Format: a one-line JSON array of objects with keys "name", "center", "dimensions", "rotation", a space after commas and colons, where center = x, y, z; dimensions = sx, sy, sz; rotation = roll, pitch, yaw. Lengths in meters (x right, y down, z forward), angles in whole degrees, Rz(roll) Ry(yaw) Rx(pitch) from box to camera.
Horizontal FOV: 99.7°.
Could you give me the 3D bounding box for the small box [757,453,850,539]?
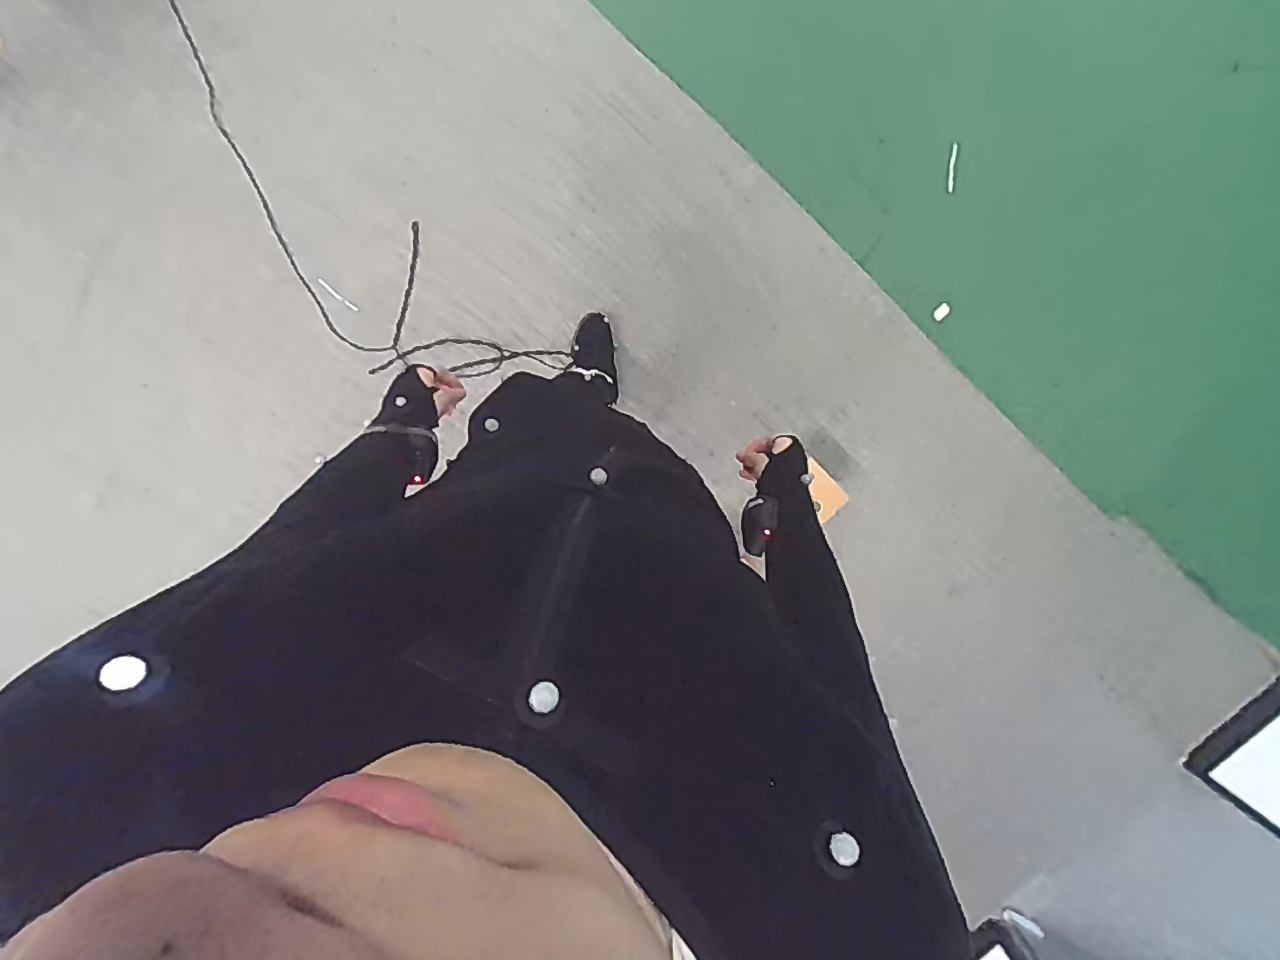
[{"name": "small box", "center": [0.470, 0.037, 1.584], "dimensions": [0.179, 0.176, 0.168], "rotation": [43, 99, -12]}]
